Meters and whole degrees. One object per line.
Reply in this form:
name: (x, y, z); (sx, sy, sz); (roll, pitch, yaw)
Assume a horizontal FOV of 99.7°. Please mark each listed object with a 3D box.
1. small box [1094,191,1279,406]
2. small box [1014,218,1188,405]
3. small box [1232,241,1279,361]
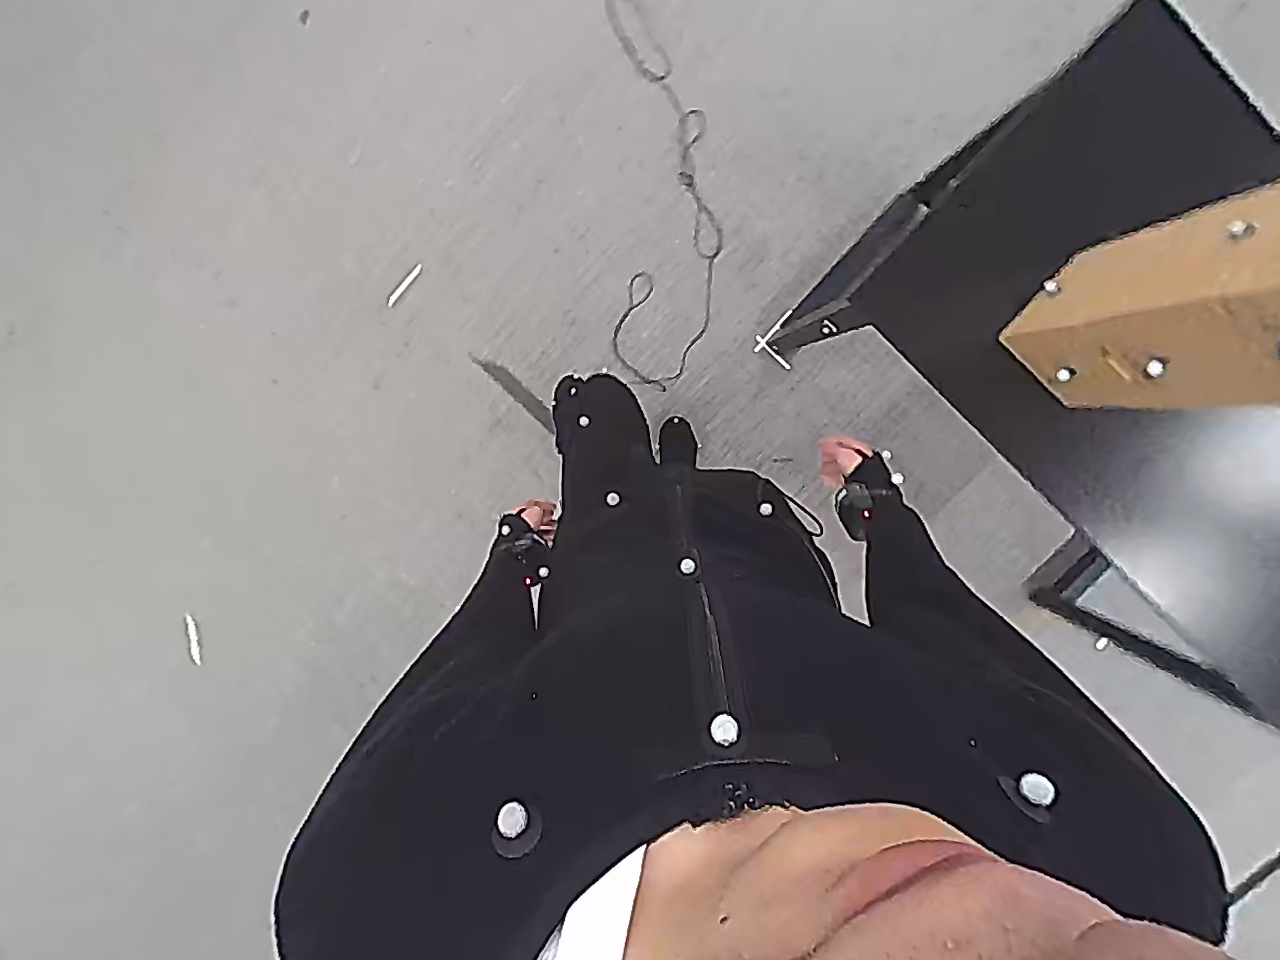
small box: (0.682, -0.202, 0.606); (0.168, 0.176, 0.179); (41, 97, -4)
small box: (0.683, -0.224, 0.770); (0.168, 0.176, 0.179); (40, 97, -5)
small box: (0.681, -0.177, 0.445); (0.168, 0.176, 0.179); (41, 97, -4)
